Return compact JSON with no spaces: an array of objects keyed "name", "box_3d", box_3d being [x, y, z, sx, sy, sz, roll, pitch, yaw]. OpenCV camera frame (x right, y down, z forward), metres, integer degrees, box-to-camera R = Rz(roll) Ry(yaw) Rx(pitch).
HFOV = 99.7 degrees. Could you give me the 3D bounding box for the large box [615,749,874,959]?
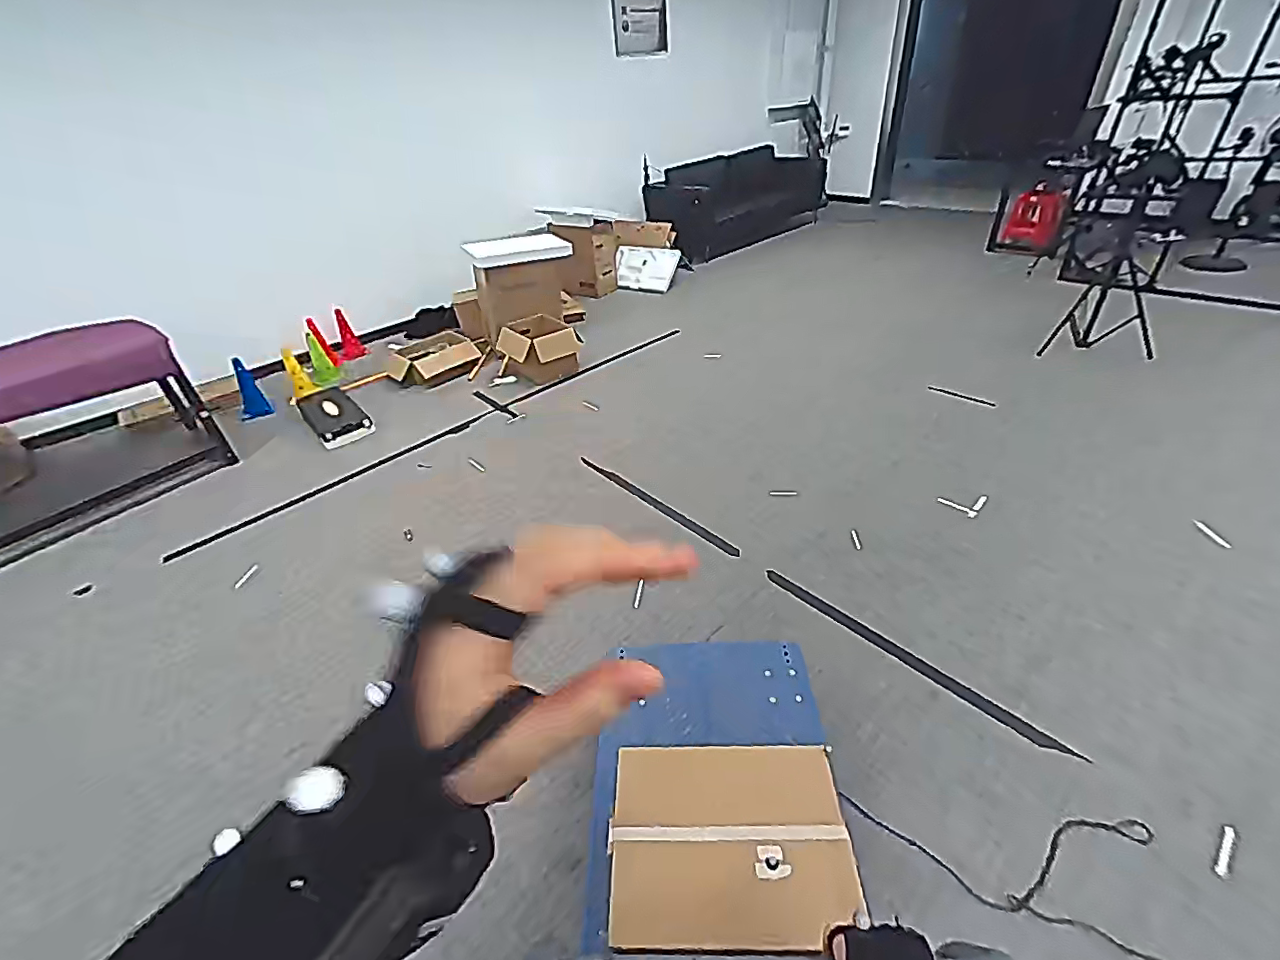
[{"name":"large box","box_3d":[0.165,0.744,1.026,0.408,0.320,0.320,-2,37,3]}]
